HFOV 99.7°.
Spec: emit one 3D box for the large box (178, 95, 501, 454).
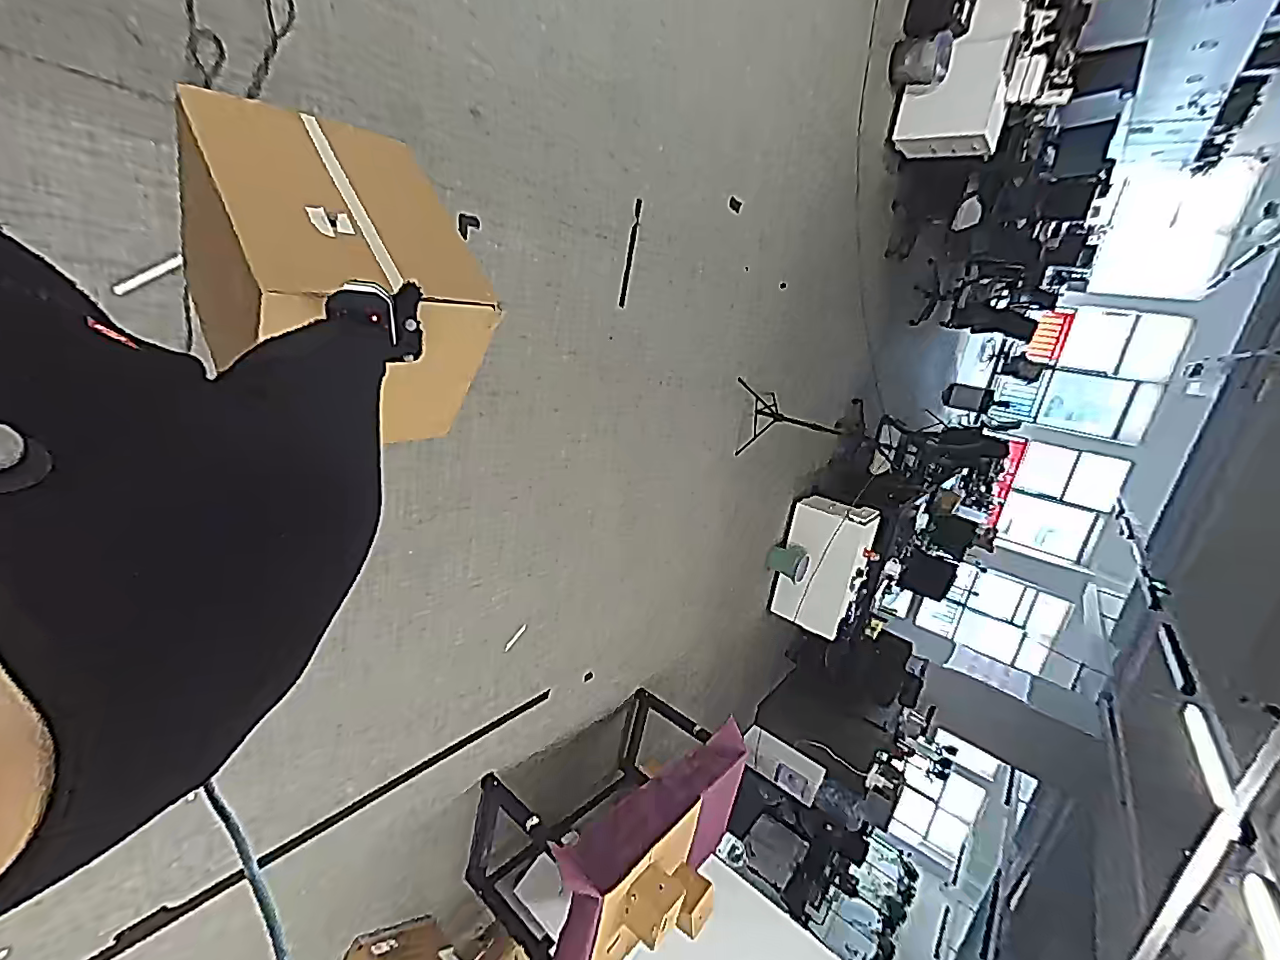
[{"bbox_3d":[-0.497,-0.305,0.877,0.320,0.408,0.320,-15,157,-44],"label":"large box"}]
